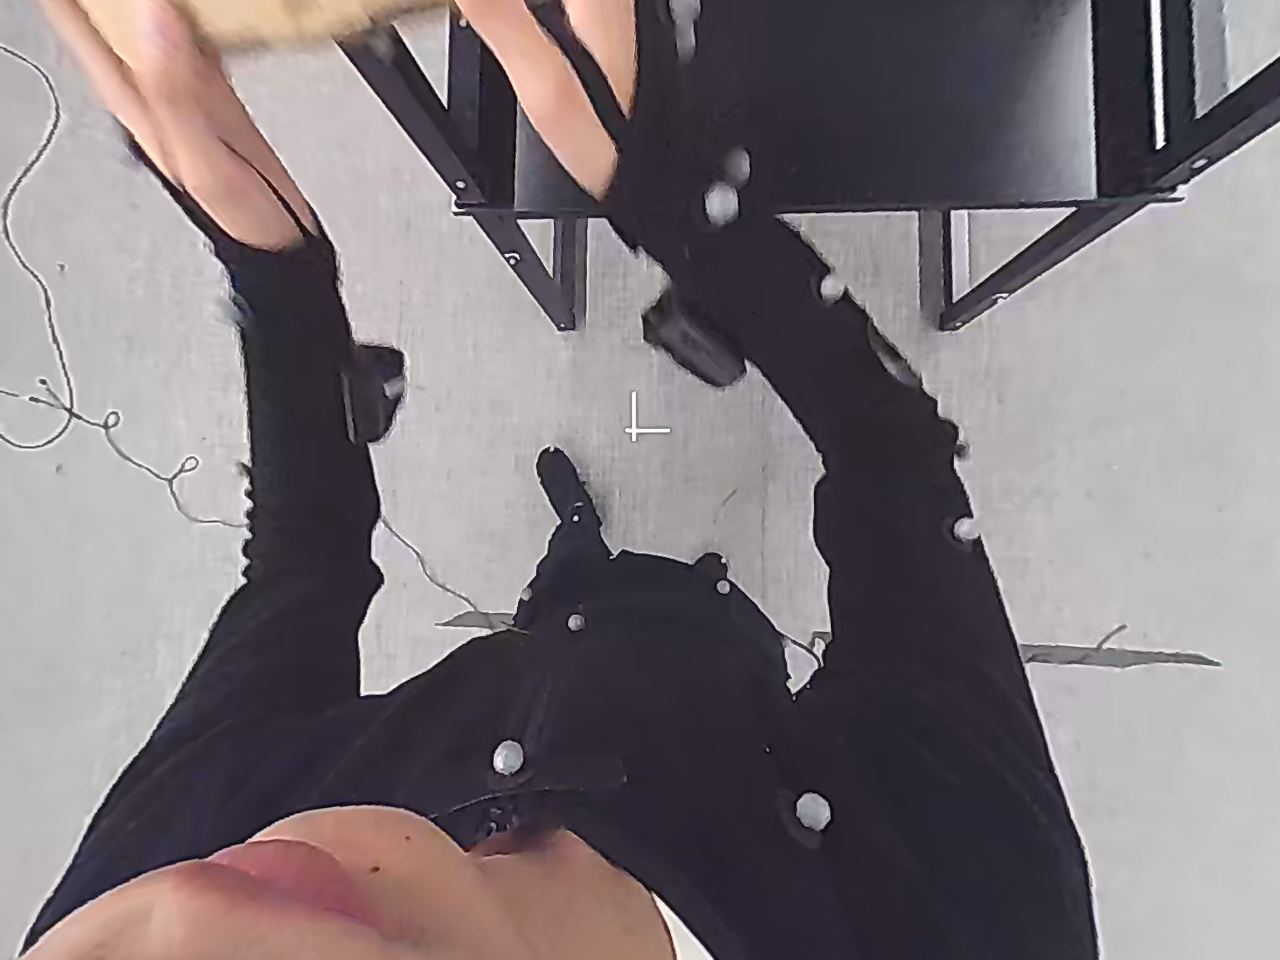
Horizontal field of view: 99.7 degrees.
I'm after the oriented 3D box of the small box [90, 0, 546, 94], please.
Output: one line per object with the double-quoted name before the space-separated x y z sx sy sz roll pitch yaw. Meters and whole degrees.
"small box" -0.145 -0.292 0.229 0.168 0.176 0.179 -9 132 5
